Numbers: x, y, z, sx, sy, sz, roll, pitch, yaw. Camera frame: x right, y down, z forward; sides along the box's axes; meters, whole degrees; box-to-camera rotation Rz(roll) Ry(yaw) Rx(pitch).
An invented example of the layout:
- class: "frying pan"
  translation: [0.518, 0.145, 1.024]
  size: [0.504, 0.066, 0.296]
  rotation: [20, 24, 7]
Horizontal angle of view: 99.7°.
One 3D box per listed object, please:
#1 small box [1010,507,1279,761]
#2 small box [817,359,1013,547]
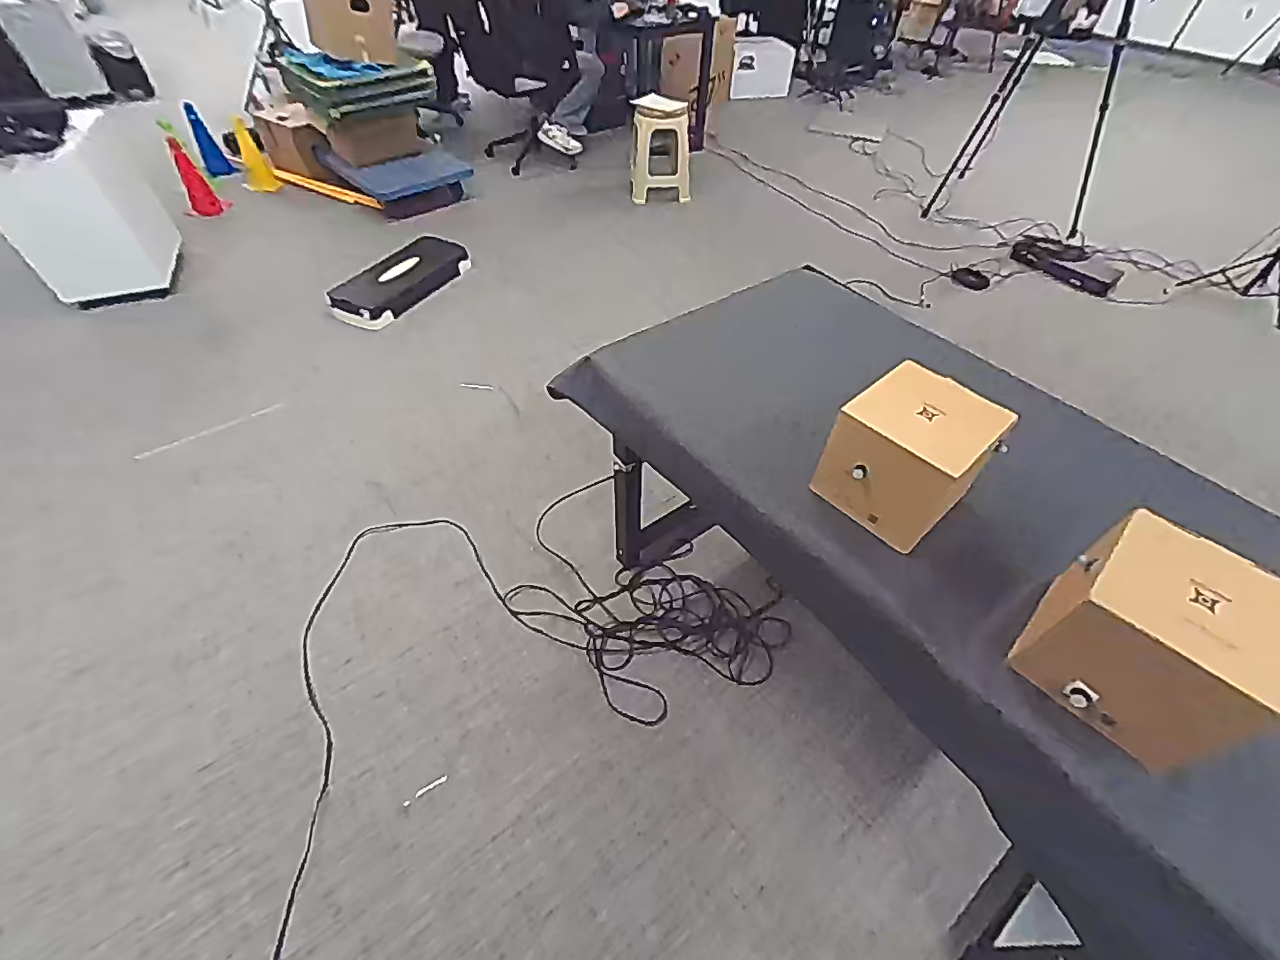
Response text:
- class: "small box"
  translation: [0.559, 0.170, 0.601]
  size: [0.179, 0.176, 0.168]
  rotation: [-36, 58, -28]
- class: "small box"
  translation: [0.377, -0.037, 0.774]
  size: [0.179, 0.176, 0.168]
  rotation: [-33, 58, -28]
